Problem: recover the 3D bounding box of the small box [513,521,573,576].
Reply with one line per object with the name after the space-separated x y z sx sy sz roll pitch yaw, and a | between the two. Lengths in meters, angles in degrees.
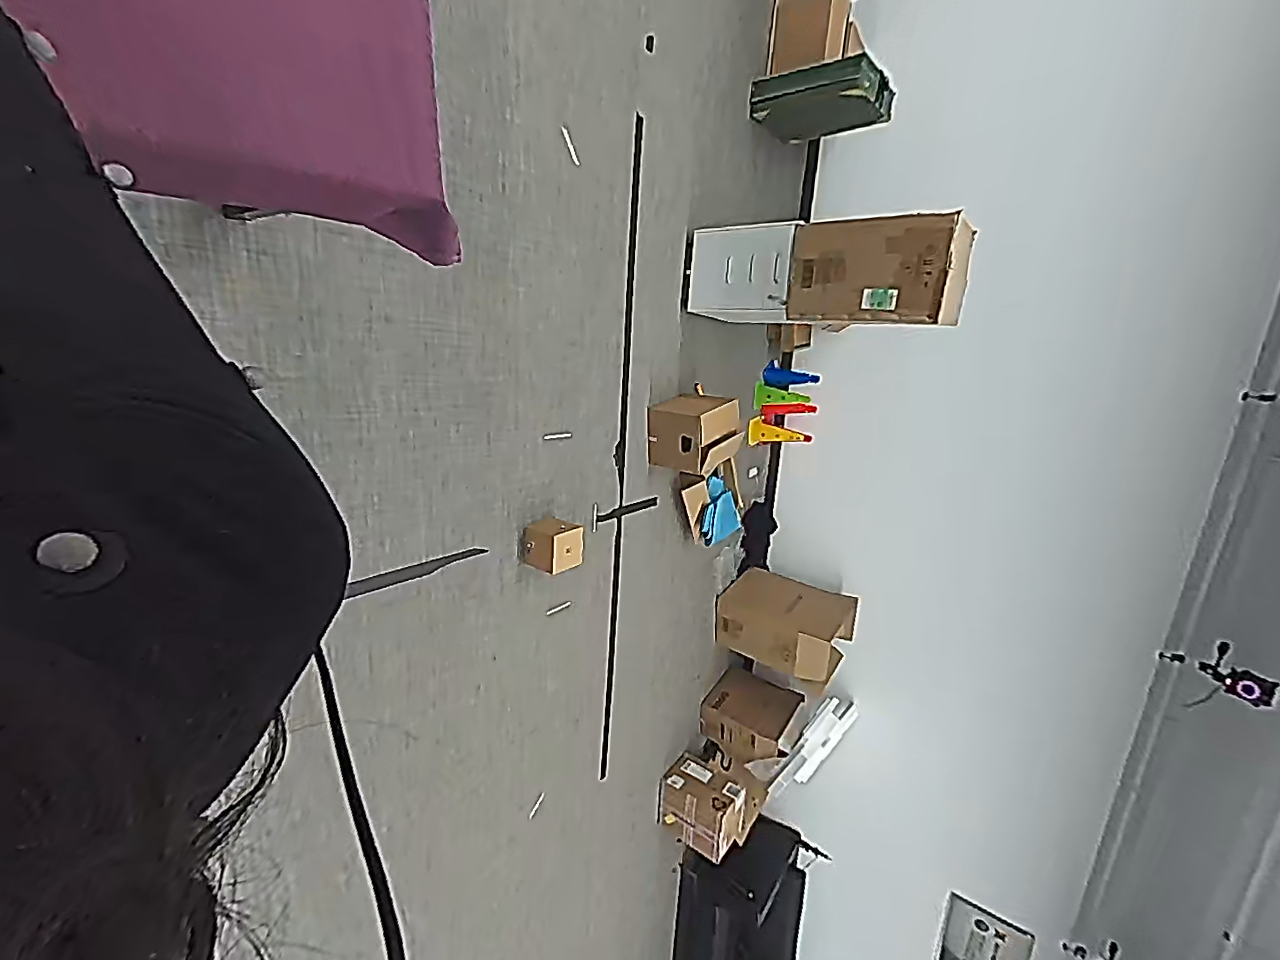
-0.398 0.273 2.218 0.179 0.176 0.168 -13 111 -53 | small box
